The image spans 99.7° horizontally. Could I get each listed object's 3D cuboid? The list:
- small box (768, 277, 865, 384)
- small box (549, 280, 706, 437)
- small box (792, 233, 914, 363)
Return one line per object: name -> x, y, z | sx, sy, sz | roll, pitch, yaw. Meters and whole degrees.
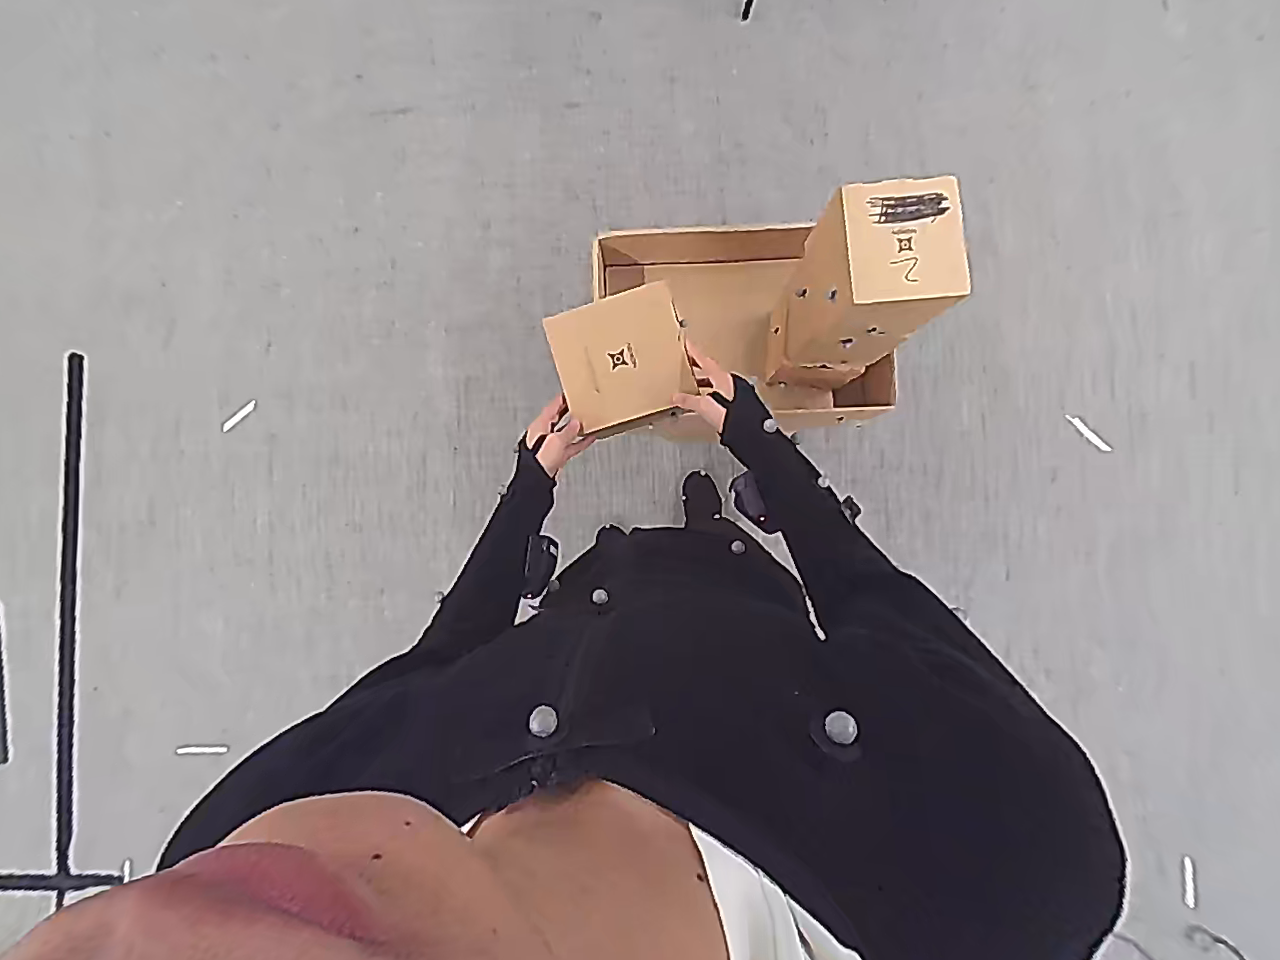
small box -> 0.376, -0.311, 1.159 | 0.168, 0.176, 0.179 | 5, 86, 0
small box -> -0.011, -0.165, 0.791 | 0.179, 0.176, 0.168 | -17, 91, 6
small box -> 0.382, -0.328, 0.996 | 0.168, 0.176, 0.179 | 2, 86, 1
